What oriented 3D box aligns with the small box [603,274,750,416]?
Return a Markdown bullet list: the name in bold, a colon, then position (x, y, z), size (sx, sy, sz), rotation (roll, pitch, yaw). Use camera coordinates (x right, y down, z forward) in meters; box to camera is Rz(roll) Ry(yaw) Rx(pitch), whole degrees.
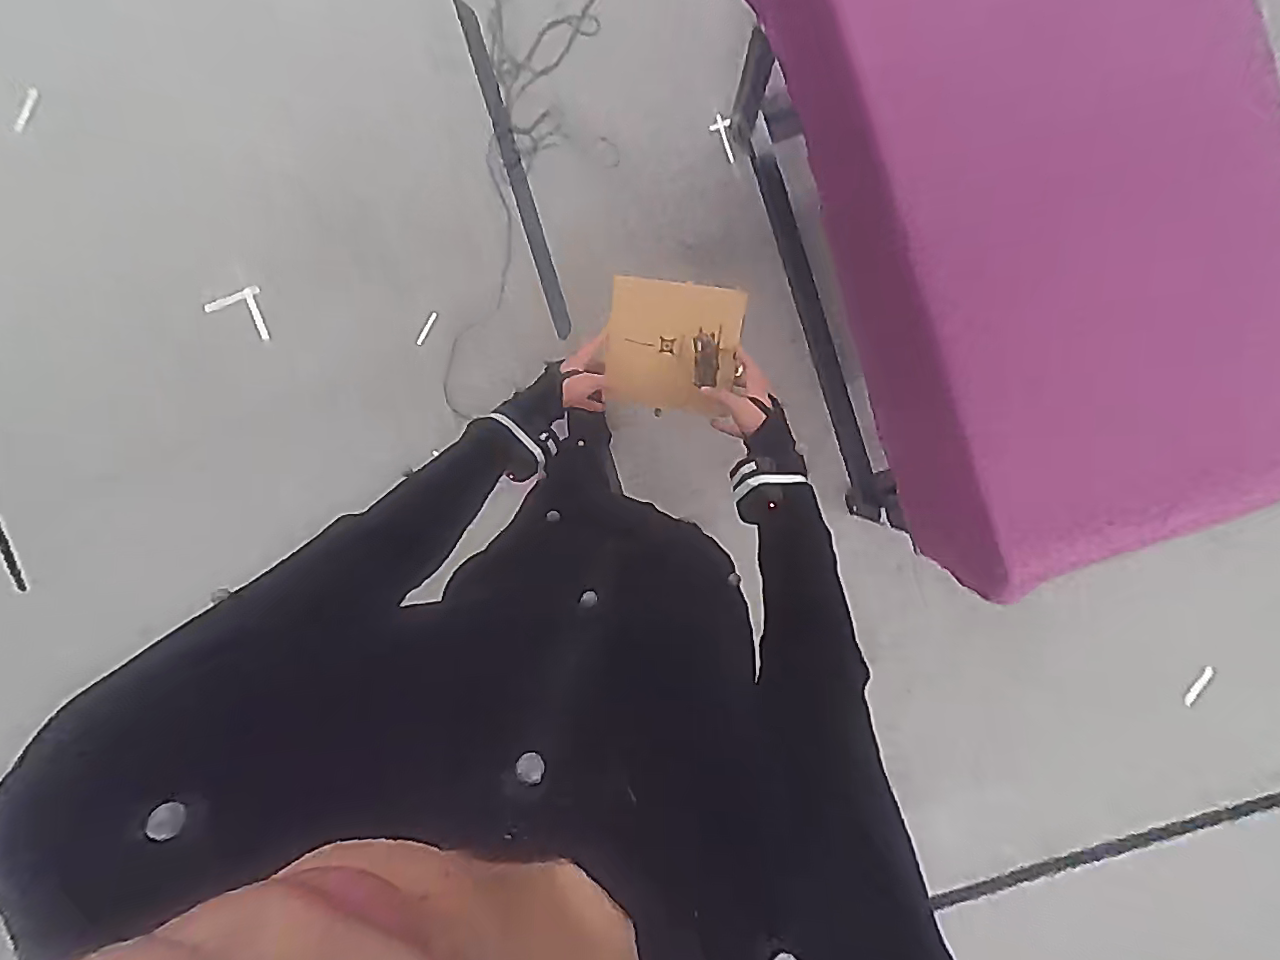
- **small box**: position (0.050, -0.192, 0.796), size (0.179, 0.176, 0.168), rotation (8, 100, 1)
